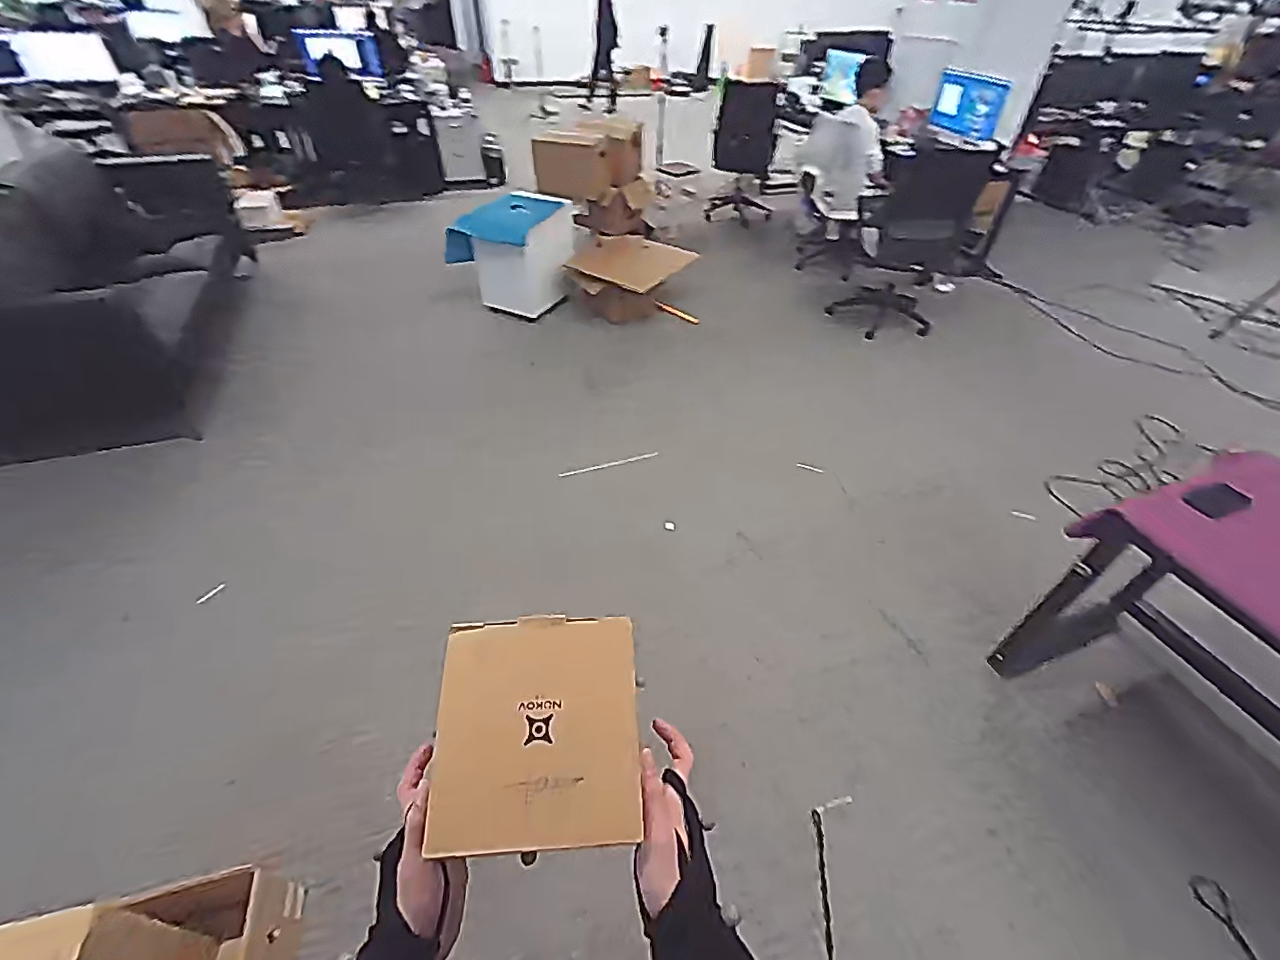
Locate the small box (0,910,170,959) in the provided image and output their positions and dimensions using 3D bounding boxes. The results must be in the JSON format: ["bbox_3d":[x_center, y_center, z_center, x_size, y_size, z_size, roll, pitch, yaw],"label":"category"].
[{"bbox_3d":[-0.760,0.683,0.686,0.179,0.176,0.168,-9,43,-11],"label":"small box"}]

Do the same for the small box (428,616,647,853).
[{"bbox_3d":[-0.083,0.240,0.514,0.168,0.176,0.179,-1,60,-3],"label":"small box"}]
